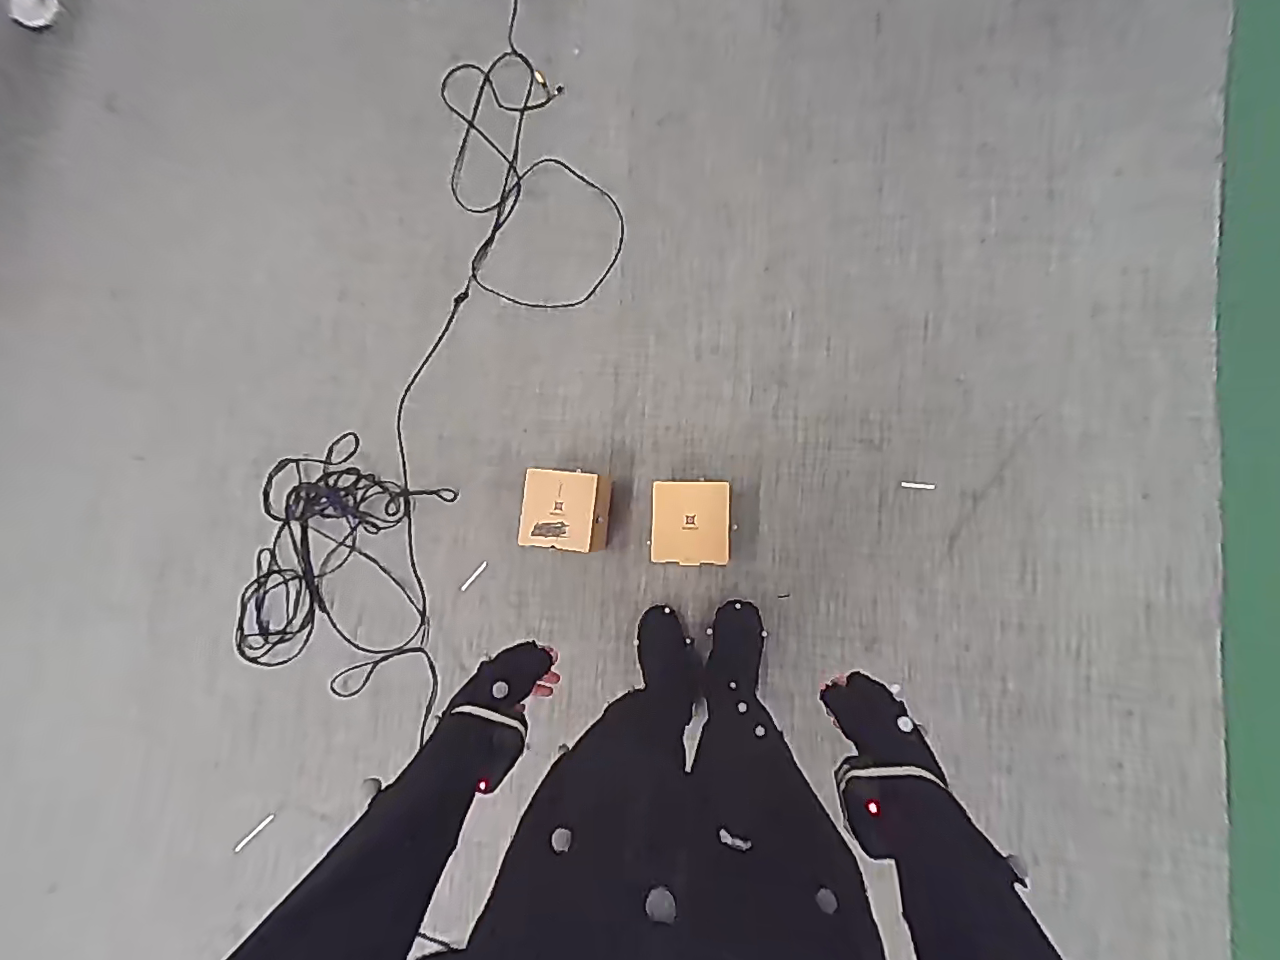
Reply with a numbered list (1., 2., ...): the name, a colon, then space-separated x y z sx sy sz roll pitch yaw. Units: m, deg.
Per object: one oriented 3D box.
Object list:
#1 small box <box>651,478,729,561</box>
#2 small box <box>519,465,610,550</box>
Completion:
1. small box: 0.116 0.089 1.235 0.168 0.176 0.179 1 87 8
2. small box: -0.171 0.066 1.276 0.168 0.176 0.179 6 86 8
